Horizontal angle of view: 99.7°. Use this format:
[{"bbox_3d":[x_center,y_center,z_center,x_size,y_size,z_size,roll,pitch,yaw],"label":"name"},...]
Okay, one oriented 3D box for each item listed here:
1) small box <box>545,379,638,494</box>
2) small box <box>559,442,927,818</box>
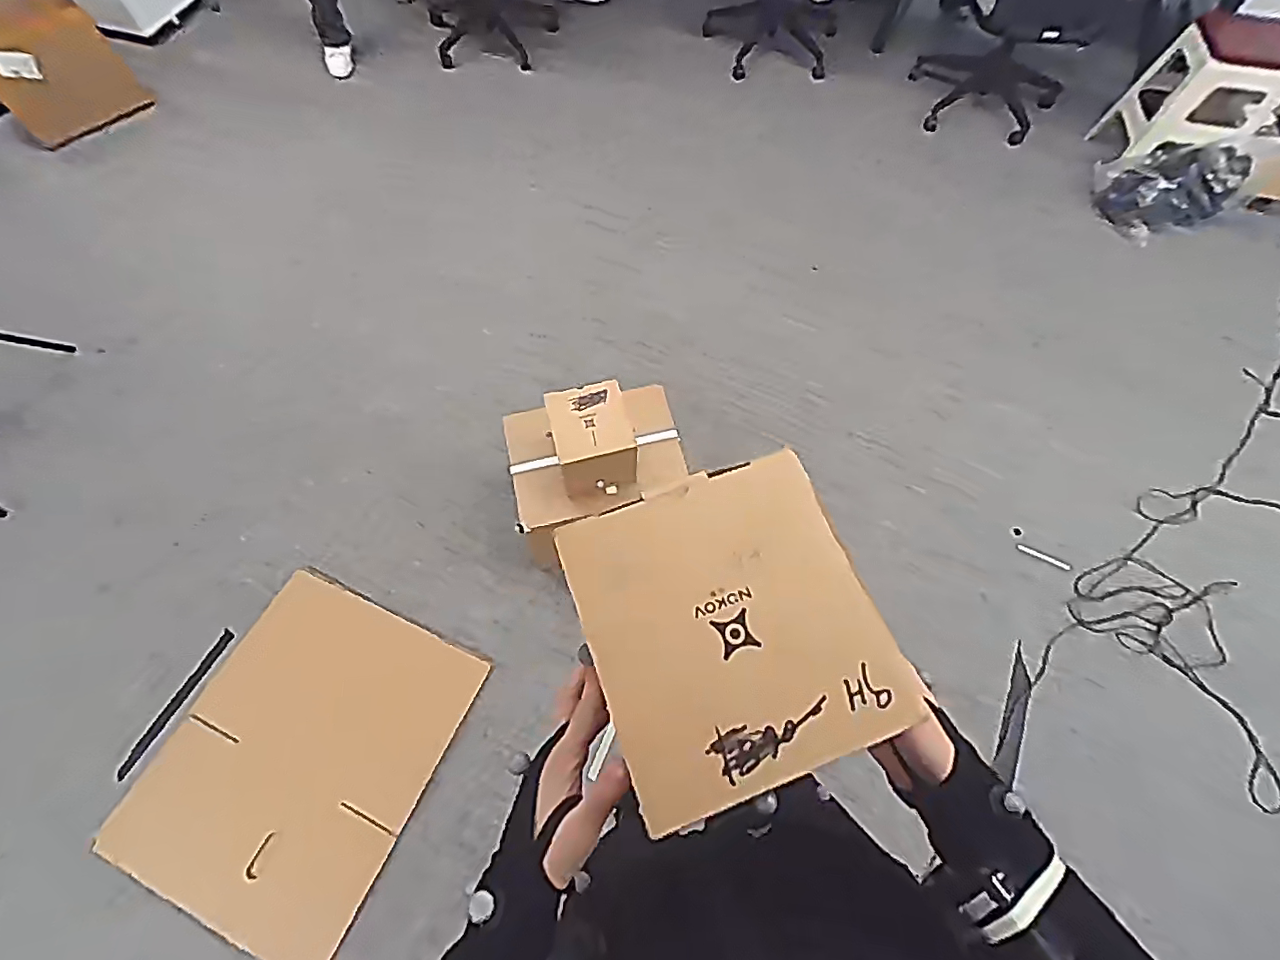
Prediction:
[{"bbox_3d":[-0.106,-0.092,1.200,0.168,0.176,0.179,-14,66,-7],"label":"small box"},{"bbox_3d":[0.053,0.104,0.387,0.168,0.176,0.179,-19,69,-6],"label":"small box"}]
